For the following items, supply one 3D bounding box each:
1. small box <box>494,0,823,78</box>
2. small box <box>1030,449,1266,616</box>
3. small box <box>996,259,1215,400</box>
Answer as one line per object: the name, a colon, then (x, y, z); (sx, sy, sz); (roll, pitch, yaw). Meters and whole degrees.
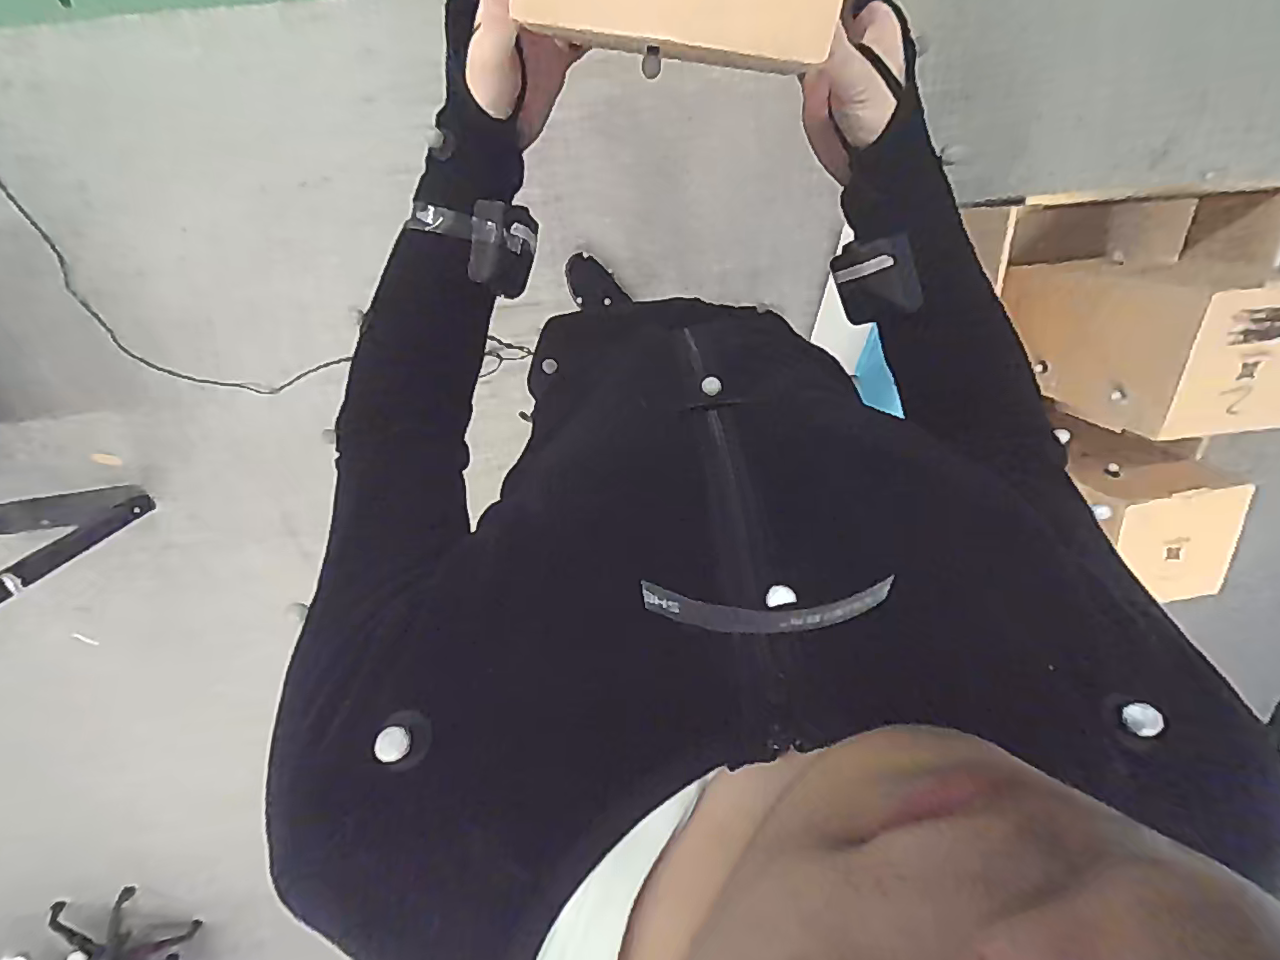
small box: (0.024, -0.347, 0.314); (0.179, 0.176, 0.168); (9, 127, 1)
small box: (0.704, 0.064, 0.777); (0.168, 0.176, 0.179); (-9, 114, 2)
small box: (0.682, -0.235, 0.821); (0.168, 0.176, 0.179); (-6, 117, 0)
